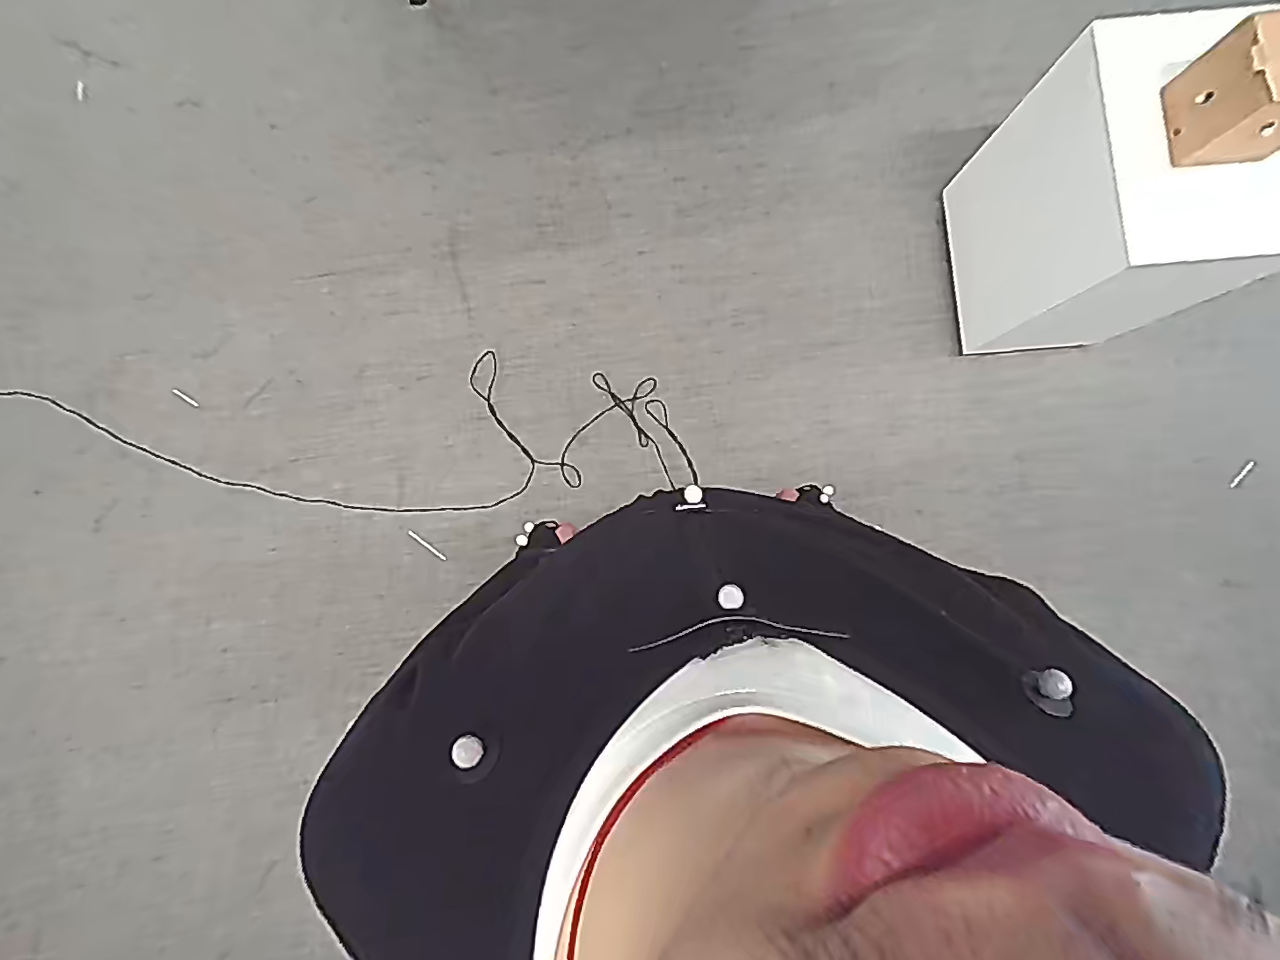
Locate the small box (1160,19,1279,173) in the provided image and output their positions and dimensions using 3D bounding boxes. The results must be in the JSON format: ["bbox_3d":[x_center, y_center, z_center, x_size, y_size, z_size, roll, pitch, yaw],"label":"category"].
[{"bbox_3d":[1.105,-0.688,0.981,0.179,0.176,0.168,-7,84,0],"label":"small box"}]
